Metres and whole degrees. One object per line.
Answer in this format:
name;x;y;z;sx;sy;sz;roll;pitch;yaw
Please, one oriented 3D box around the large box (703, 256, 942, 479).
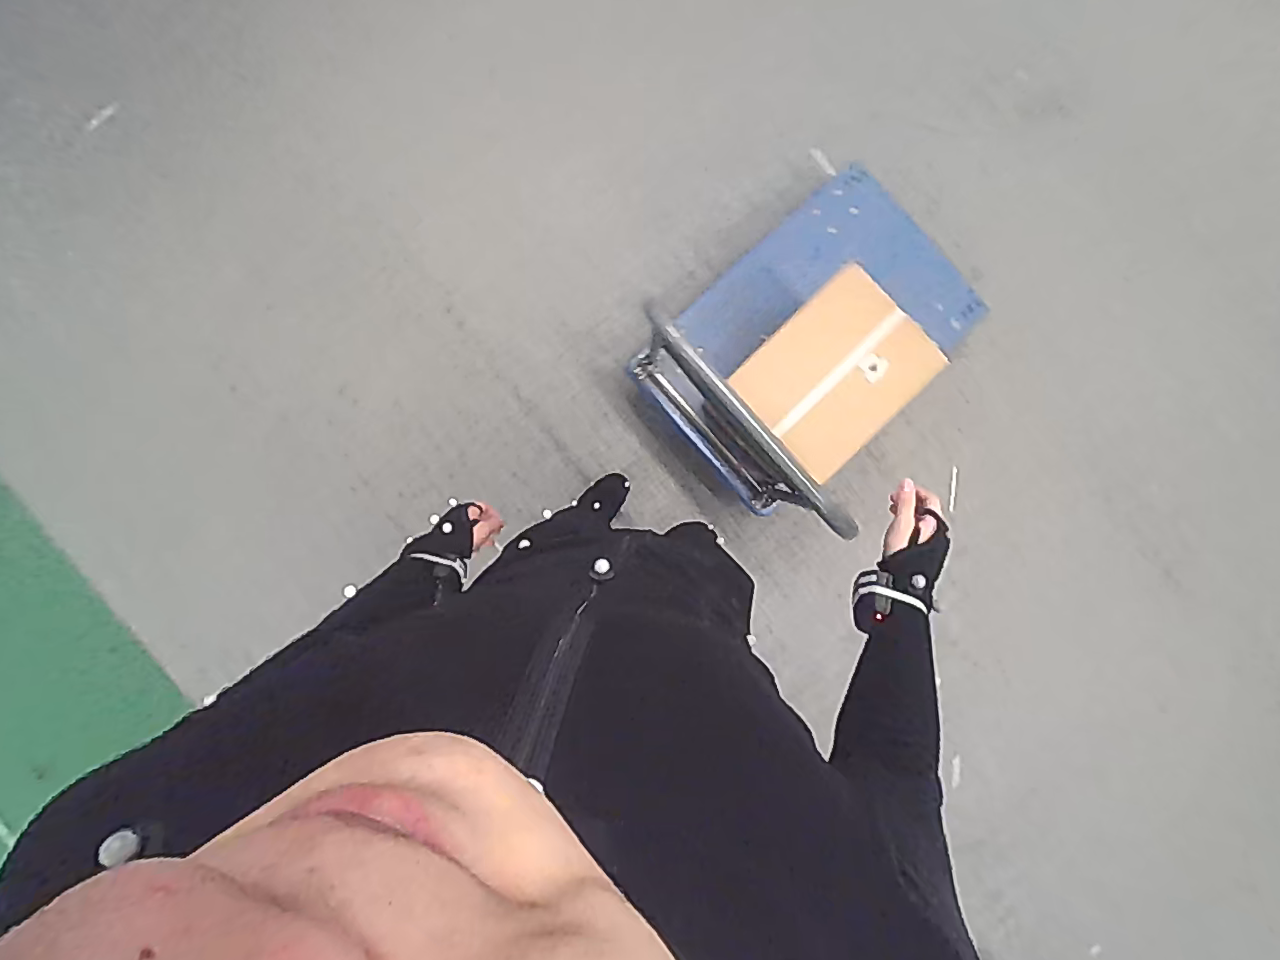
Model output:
large box;0.418;-0.245;1.329;0.408;0.320;0.320;-43;93;-2
